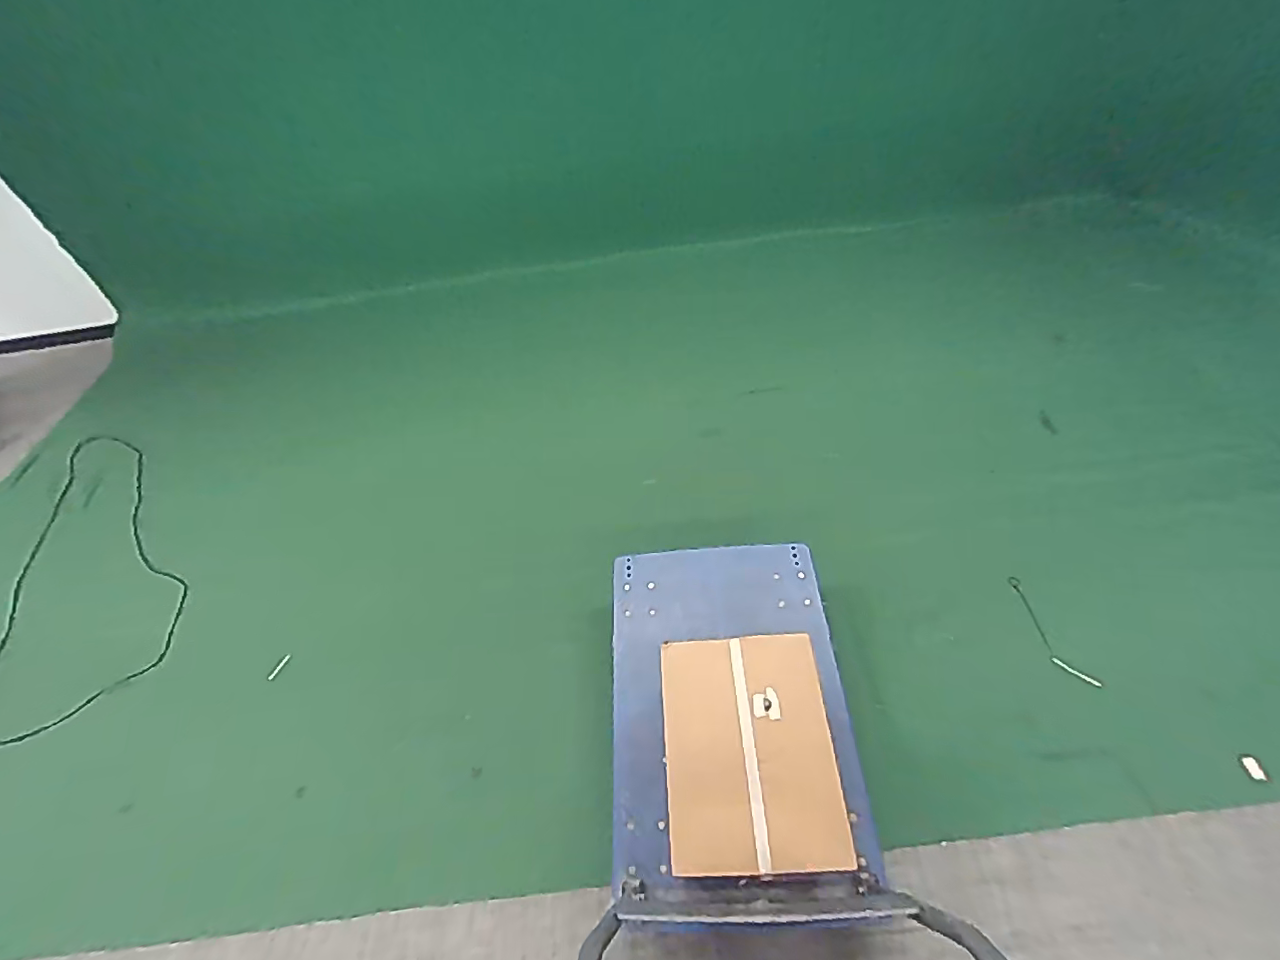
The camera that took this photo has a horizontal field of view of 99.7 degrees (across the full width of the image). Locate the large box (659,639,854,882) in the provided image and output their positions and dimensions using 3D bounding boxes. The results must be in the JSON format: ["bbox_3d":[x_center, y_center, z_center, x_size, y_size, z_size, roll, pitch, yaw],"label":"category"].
[{"bbox_3d":[0.221,0.597,1.152,0.320,0.320,0.408,-5,54,4],"label":"large box"}]
